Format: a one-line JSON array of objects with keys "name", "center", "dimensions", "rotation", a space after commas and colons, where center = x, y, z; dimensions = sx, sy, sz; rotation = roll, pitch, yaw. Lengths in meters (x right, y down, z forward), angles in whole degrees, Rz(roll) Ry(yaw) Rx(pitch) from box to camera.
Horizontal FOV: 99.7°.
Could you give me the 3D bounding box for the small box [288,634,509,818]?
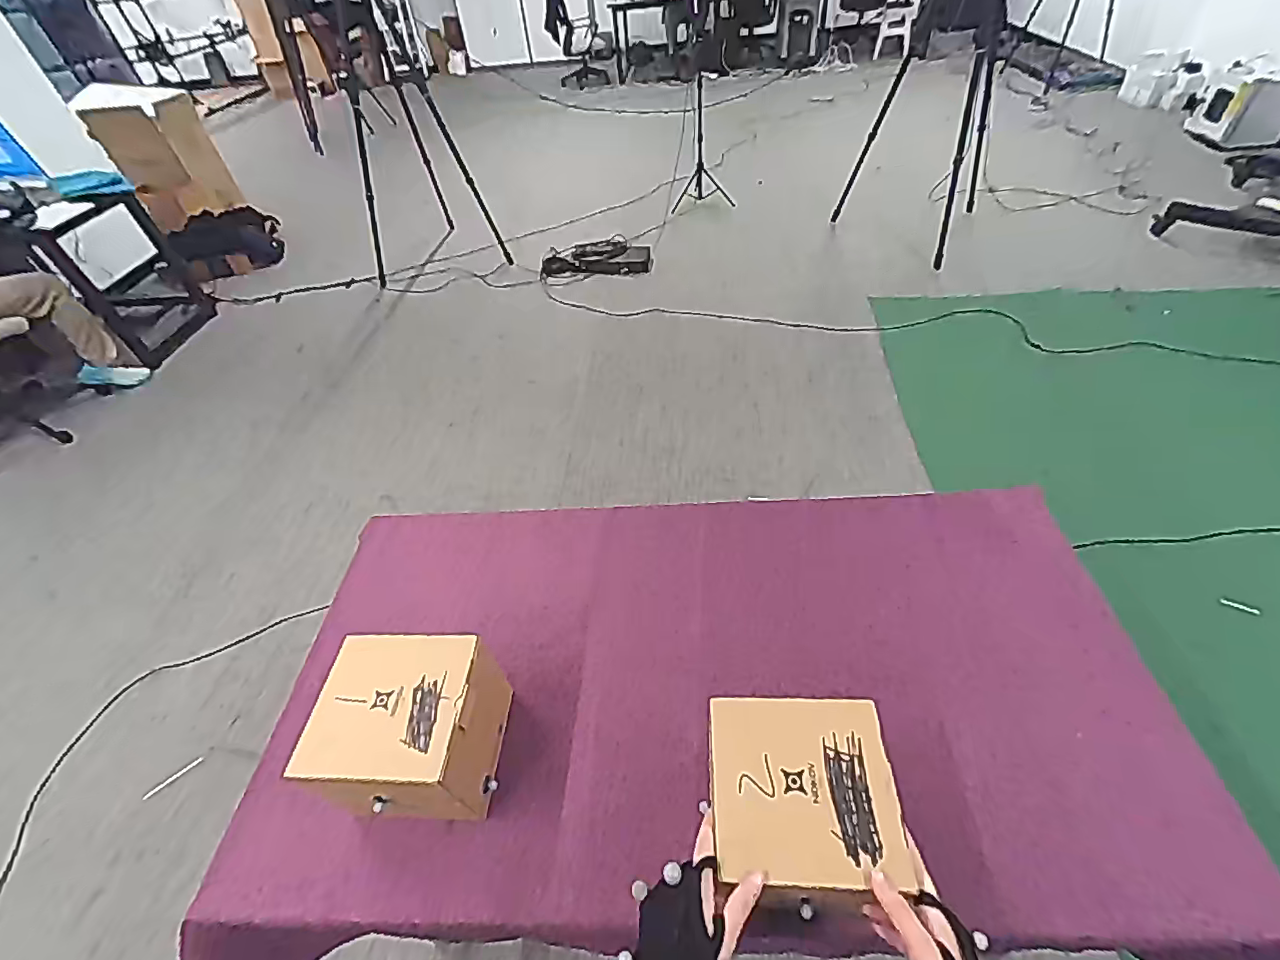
[{"name": "small box", "center": [-0.278, 0.309, 0.677], "dimensions": [0.179, 0.176, 0.168], "rotation": [-2, 46, 6]}]
